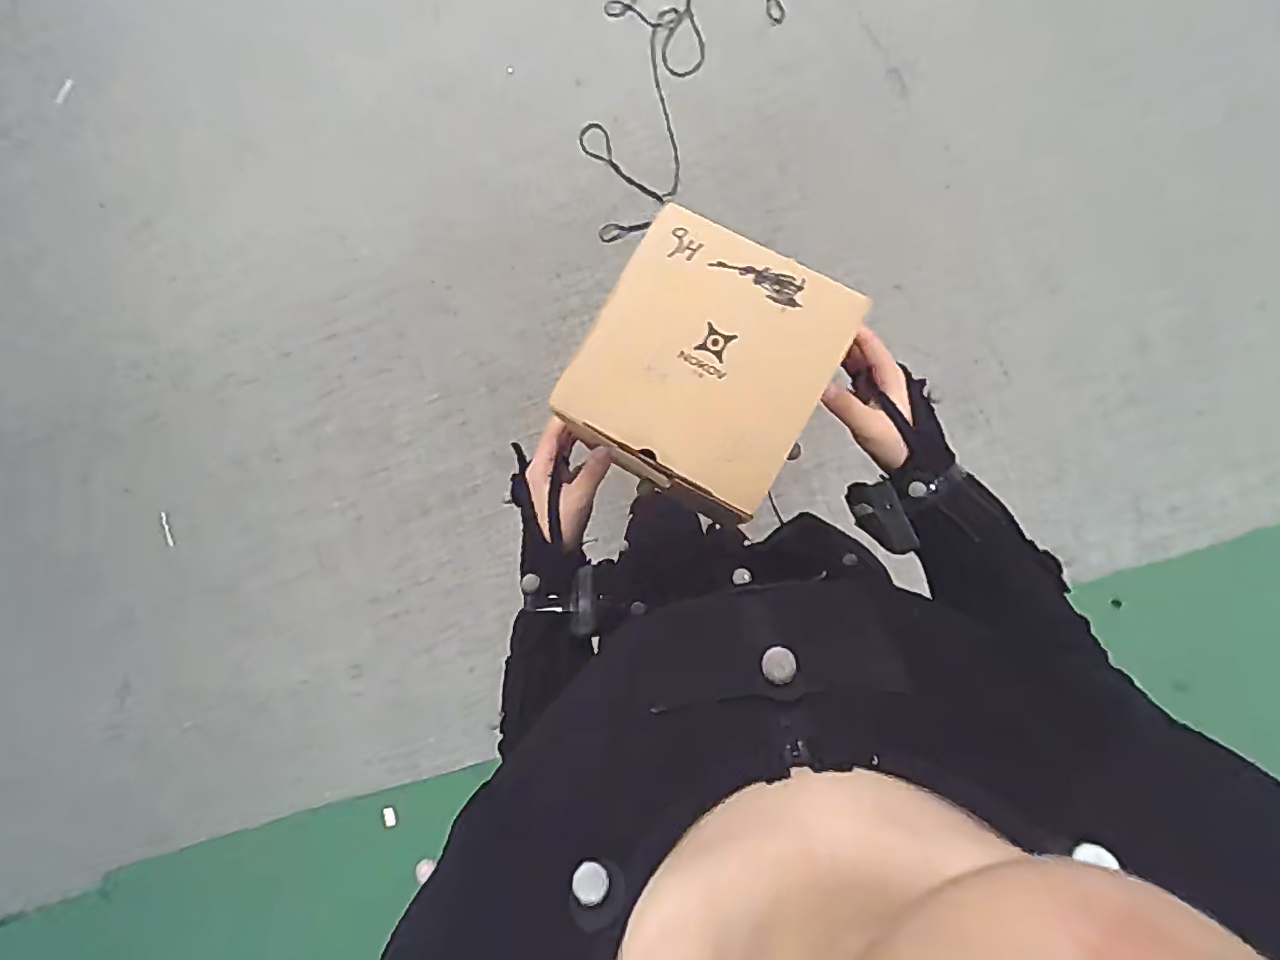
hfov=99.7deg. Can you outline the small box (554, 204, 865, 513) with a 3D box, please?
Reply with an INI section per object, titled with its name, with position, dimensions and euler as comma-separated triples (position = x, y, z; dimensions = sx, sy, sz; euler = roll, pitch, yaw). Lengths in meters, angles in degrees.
[small box]
position = 0.056, -0.082, 0.461
dimensions = 0.168, 0.176, 0.179
euler = 29, 87, 7
